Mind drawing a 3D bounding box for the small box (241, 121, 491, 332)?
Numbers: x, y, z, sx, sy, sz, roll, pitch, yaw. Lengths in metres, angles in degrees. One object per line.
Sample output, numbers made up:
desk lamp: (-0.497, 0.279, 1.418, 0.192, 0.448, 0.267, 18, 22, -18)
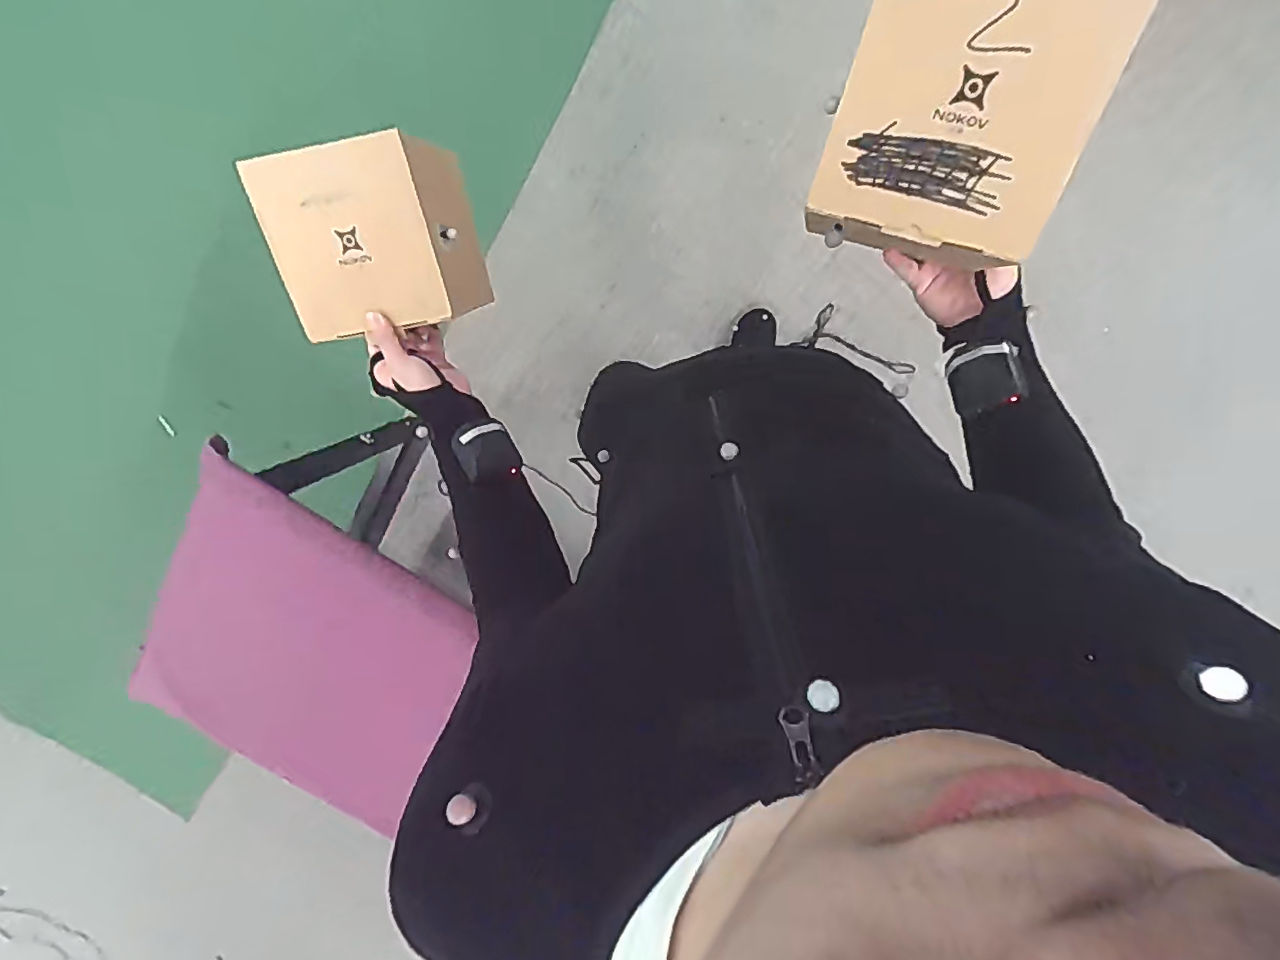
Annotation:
small box: (-0.283, -0.278, 0.610, 0.168, 0.176, 0.179, -7, 114, 4)
